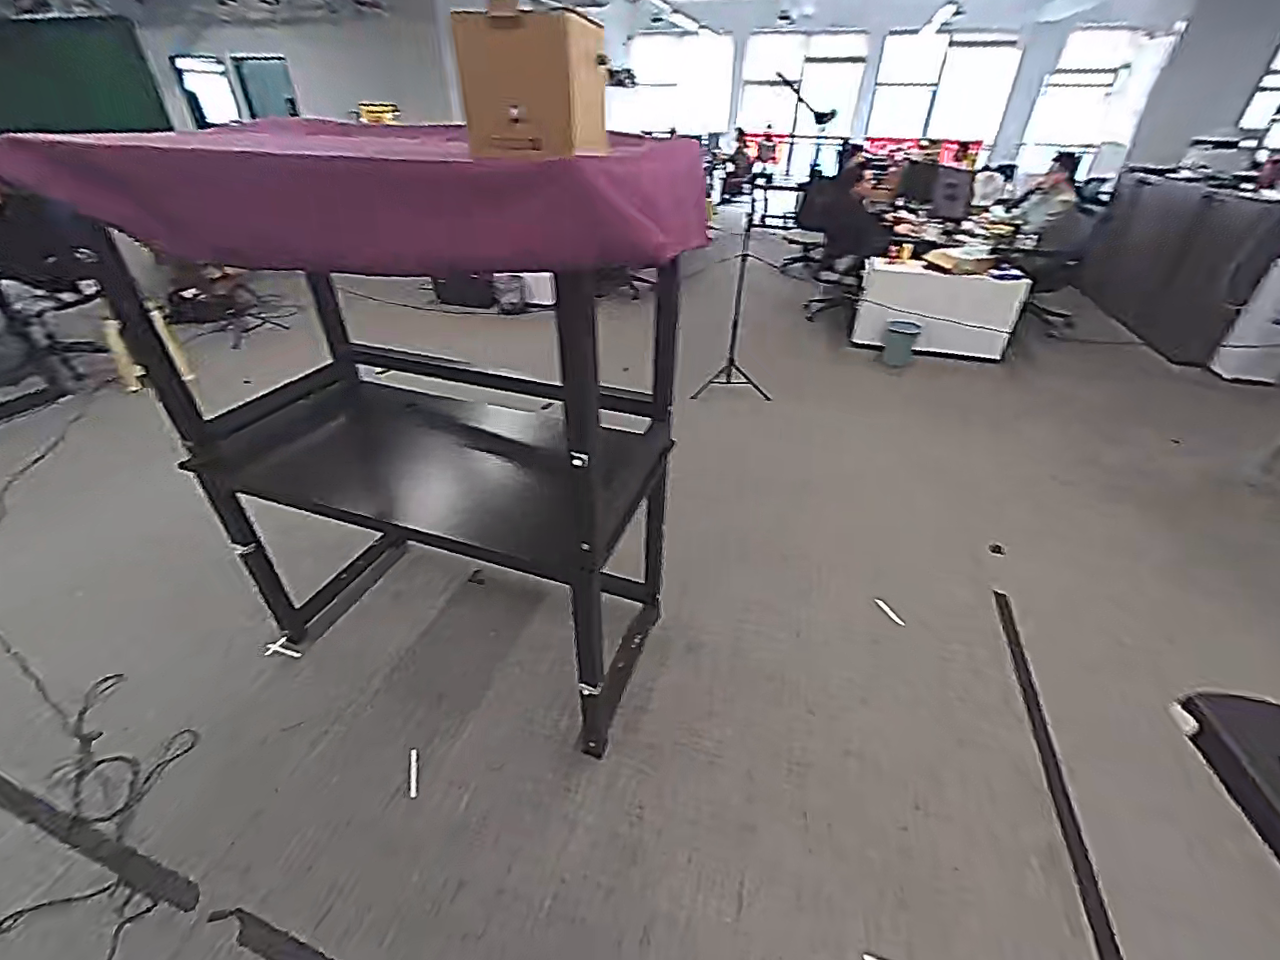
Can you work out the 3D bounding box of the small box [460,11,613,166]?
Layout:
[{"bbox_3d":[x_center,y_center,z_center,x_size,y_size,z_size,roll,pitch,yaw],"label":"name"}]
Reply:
[{"bbox_3d":[-0.141,-0.571,0.803,0.168,0.176,0.179,7,34,10],"label":"small box"}]
